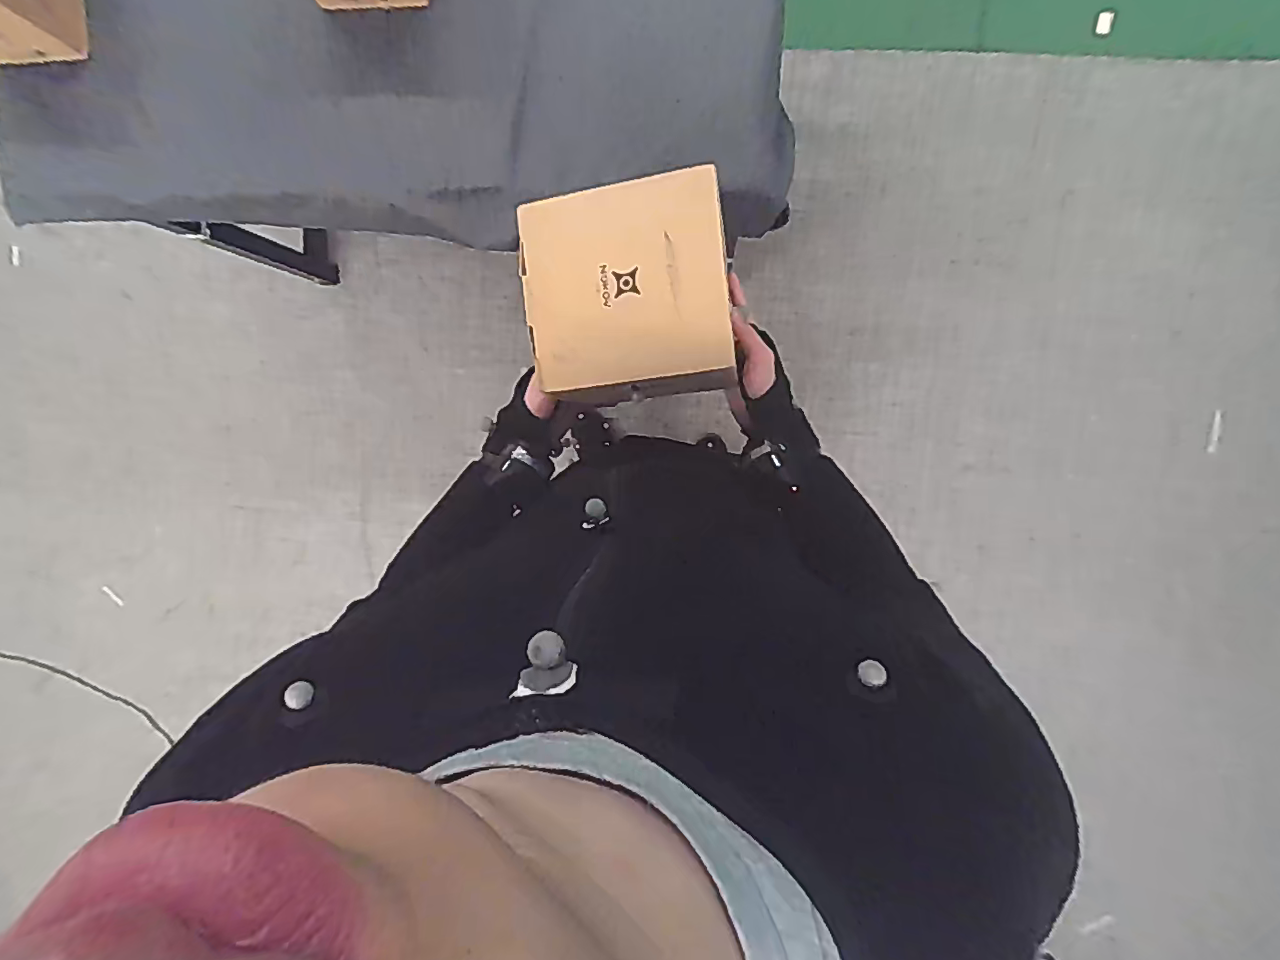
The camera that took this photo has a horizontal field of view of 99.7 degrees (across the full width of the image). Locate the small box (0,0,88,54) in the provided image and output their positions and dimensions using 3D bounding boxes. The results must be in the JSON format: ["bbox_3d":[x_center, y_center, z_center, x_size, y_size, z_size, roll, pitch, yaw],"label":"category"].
[{"bbox_3d":[-0.931,-0.730,0.751,0.168,0.176,0.179,1,97,5],"label":"small box"}]

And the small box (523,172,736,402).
[{"bbox_3d":[0.002,-0.174,0.547,0.179,0.176,0.168,-6,94,10],"label":"small box"}]

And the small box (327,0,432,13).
[{"bbox_3d":[-0.382,-0.760,0.698,0.168,0.176,0.179,3,98,5],"label":"small box"}]
